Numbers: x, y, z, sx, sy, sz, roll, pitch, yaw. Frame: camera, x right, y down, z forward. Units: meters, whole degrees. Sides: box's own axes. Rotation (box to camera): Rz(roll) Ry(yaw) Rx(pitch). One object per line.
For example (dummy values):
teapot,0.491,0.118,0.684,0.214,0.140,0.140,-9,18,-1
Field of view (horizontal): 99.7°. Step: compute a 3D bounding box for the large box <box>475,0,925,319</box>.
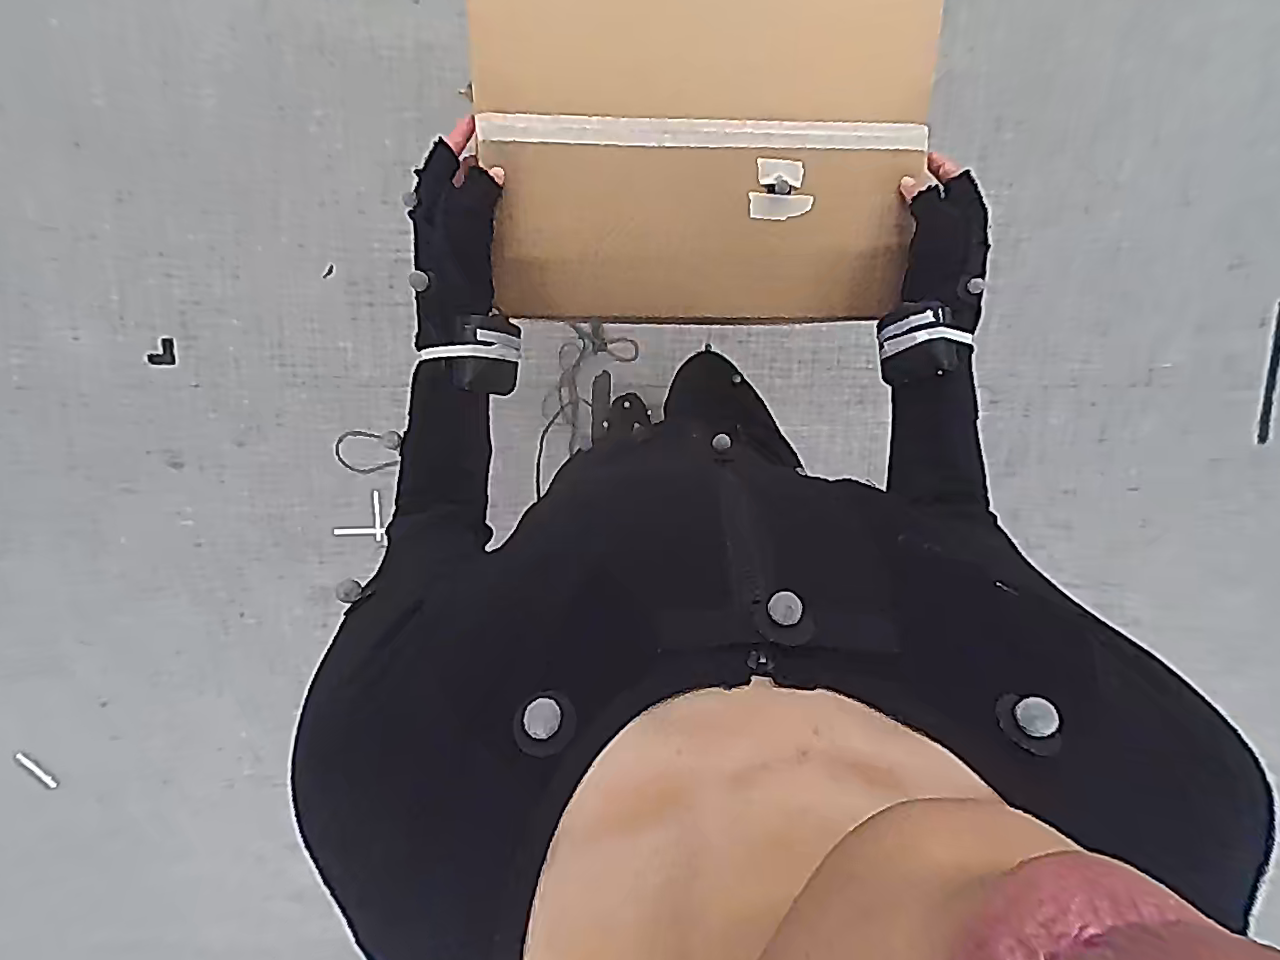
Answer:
large box,0.045,-0.360,0.639,0.408,0.320,0.320,-1,105,-5
